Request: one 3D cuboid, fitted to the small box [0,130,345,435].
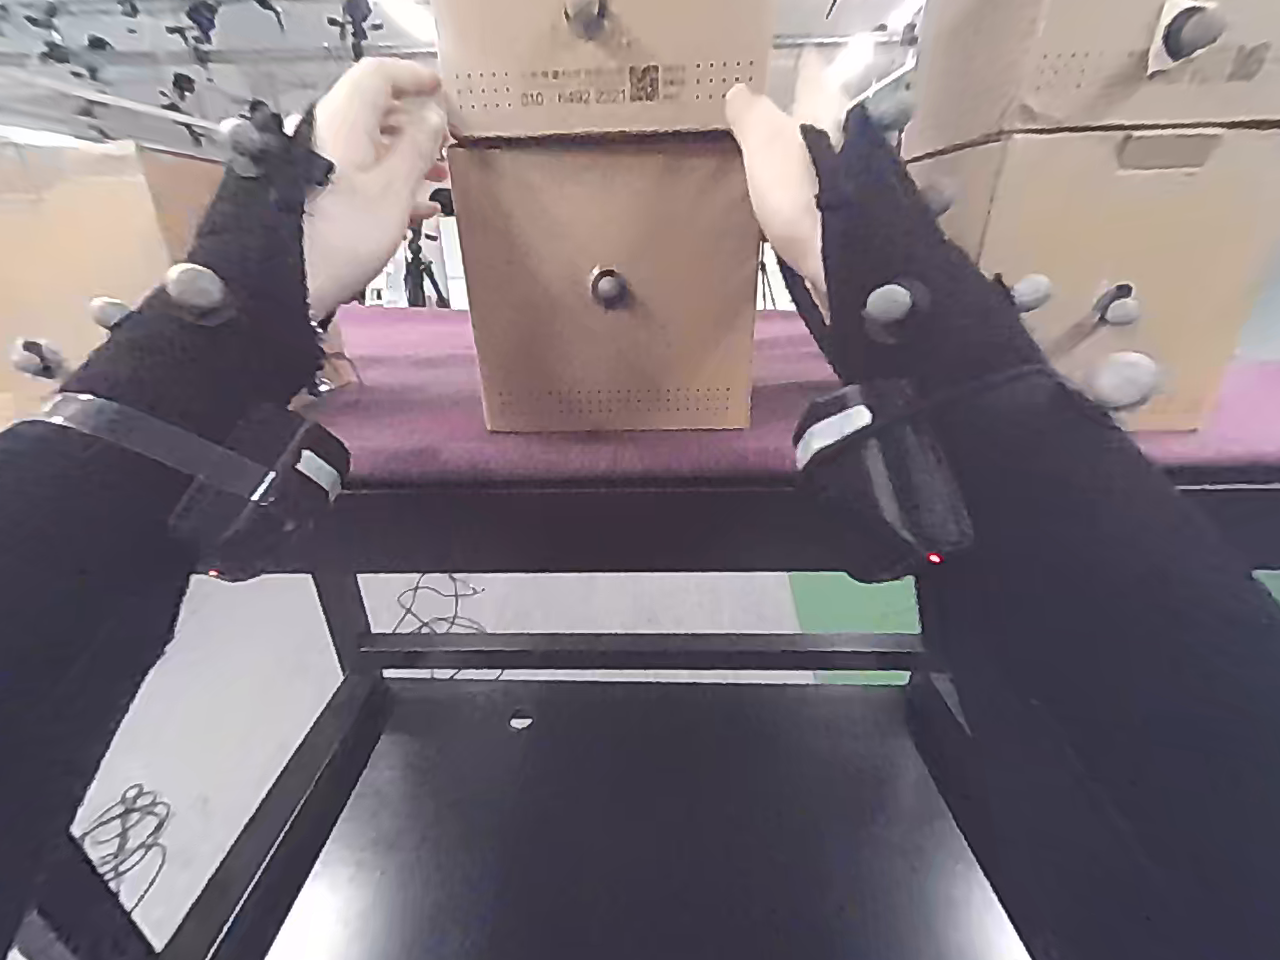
[{"bbox_3d":[-0.339,-0.138,0.390,0.168,0.176,0.179,-1,23,-2],"label":"small box"}]

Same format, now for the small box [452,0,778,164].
[{"bbox_3d":[-0.009,-0.291,0.320,0.168,0.176,0.179,1,25,5],"label":"small box"}]

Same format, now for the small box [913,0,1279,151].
[{"bbox_3d":[0.284,-0.293,0.319,0.168,0.176,0.179,0,25,5],"label":"small box"}]
